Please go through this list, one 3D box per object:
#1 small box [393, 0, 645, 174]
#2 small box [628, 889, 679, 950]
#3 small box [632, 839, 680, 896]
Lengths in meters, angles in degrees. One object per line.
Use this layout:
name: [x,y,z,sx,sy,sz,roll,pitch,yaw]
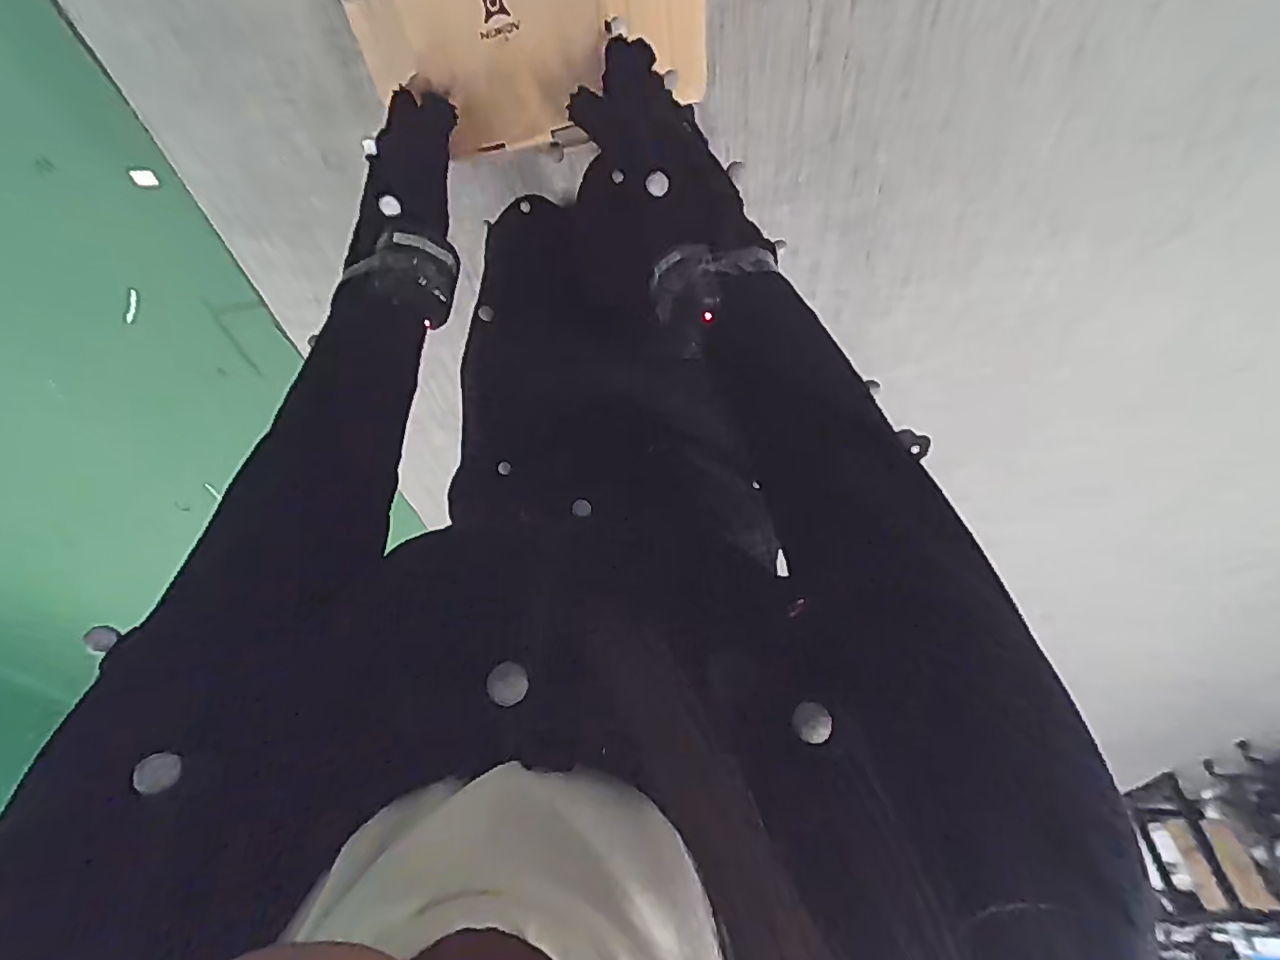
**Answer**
small box: [-0.101,-0.408,0.511,0.168,0.176,0.179,-7,117,15]
small box: [0.056,1.693,2.084,0.179,0.176,0.168,-2,138,8]
small box: [0.072,1.573,2.196,0.179,0.176,0.168,-1,138,10]
